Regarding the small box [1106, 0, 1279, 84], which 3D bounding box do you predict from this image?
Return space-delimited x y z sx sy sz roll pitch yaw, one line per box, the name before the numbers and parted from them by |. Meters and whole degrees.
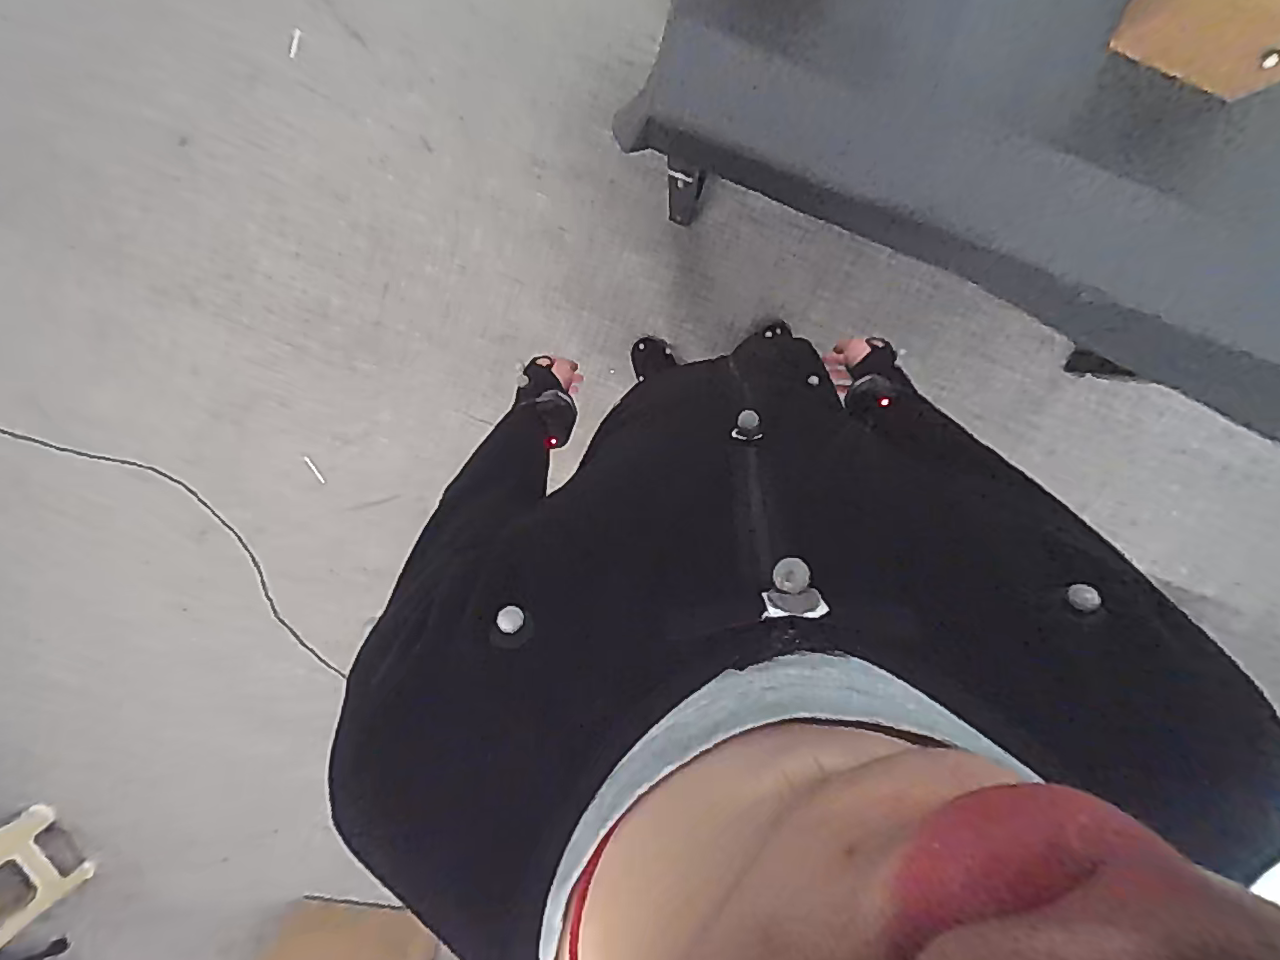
small box | 0.673 -0.566 0.573 0.179 0.176 0.168 20 103 -4
